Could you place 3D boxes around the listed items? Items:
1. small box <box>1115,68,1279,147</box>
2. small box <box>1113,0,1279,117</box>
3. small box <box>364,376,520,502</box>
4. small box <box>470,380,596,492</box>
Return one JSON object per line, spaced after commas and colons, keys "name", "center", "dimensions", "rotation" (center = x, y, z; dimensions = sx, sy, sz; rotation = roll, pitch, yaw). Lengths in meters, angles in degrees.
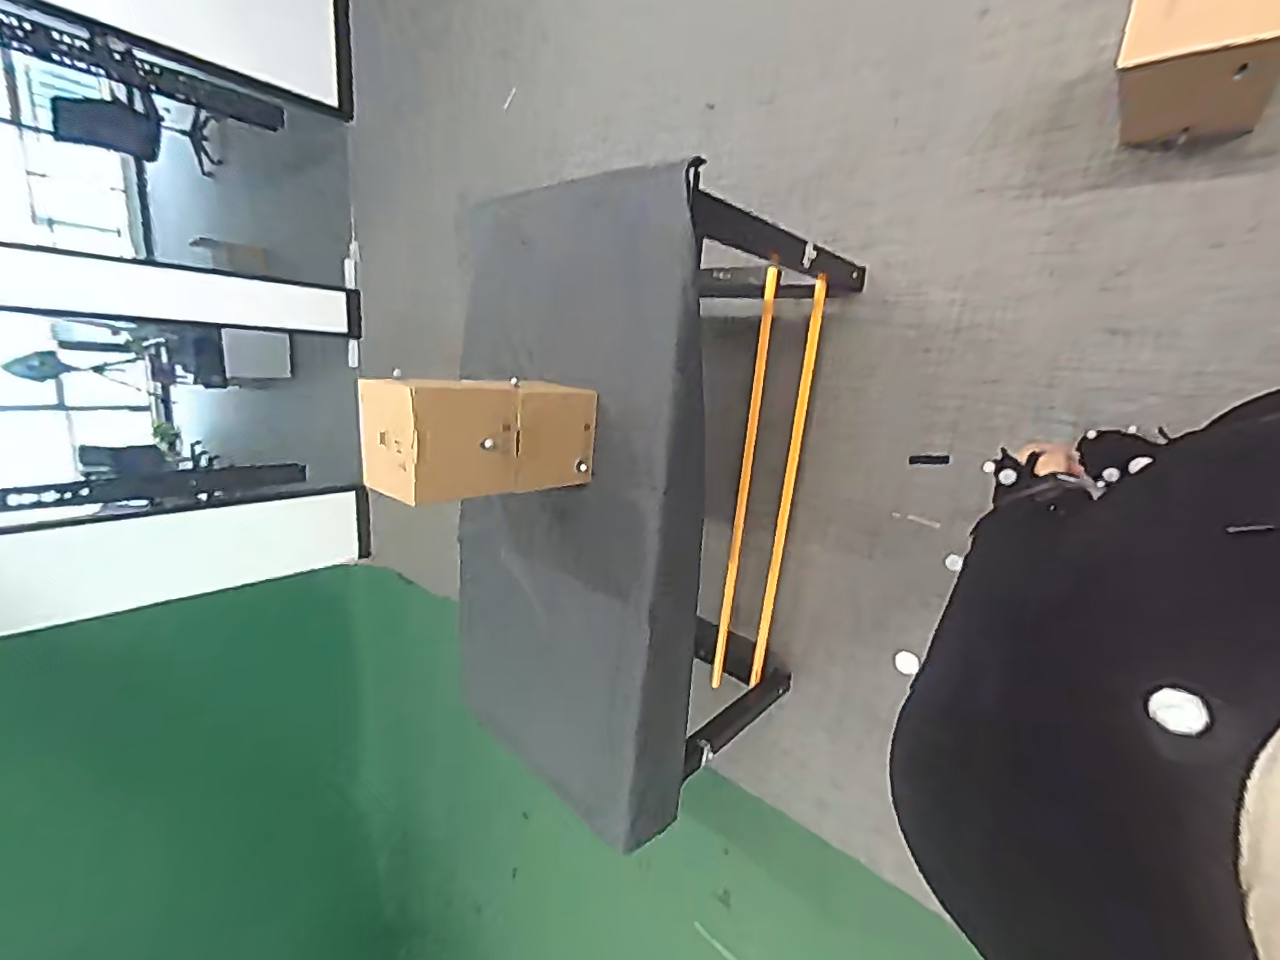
{"name": "small box", "center": [0.903, -0.662, 0.870], "dimensions": [0.179, 0.176, 0.168], "rotation": [18, 107, 37]}
{"name": "small box", "center": [0.794, -0.642, 0.752], "dimensions": [0.179, 0.176, 0.168], "rotation": [16, 106, 40]}
{"name": "small box", "center": [-0.309, -0.071, 0.843], "dimensions": [0.179, 0.176, 0.168], "rotation": [14, 106, 40]}
{"name": "small box", "center": [-0.196, -0.086, 0.963], "dimensions": [0.179, 0.176, 0.168], "rotation": [17, 107, 40]}
